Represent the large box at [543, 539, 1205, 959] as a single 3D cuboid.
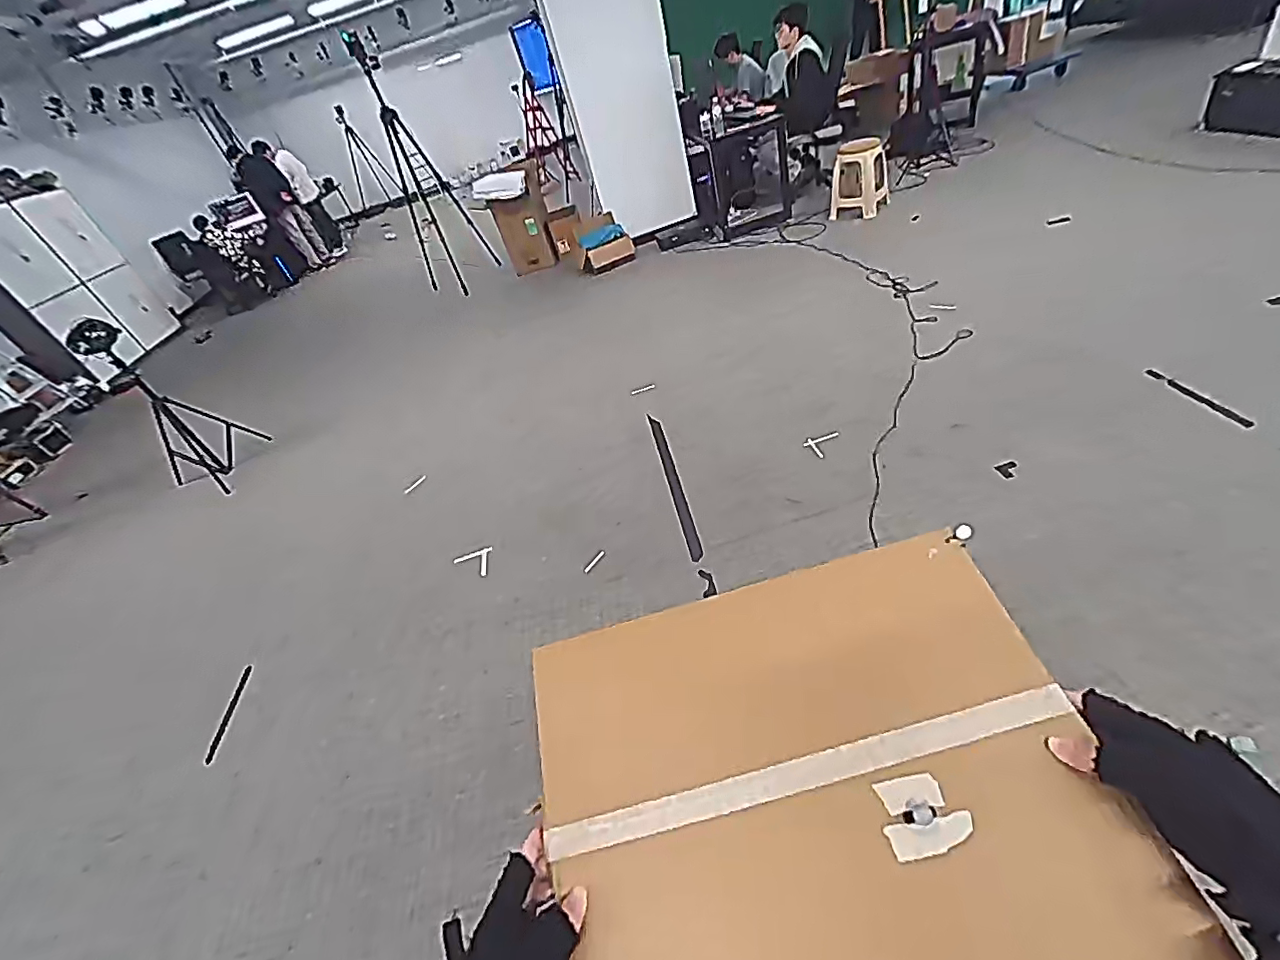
[{"bbox_3d":[0.156,0.317,0.543,0.408,0.320,0.320,-17,53,2],"label":"large box"}]
